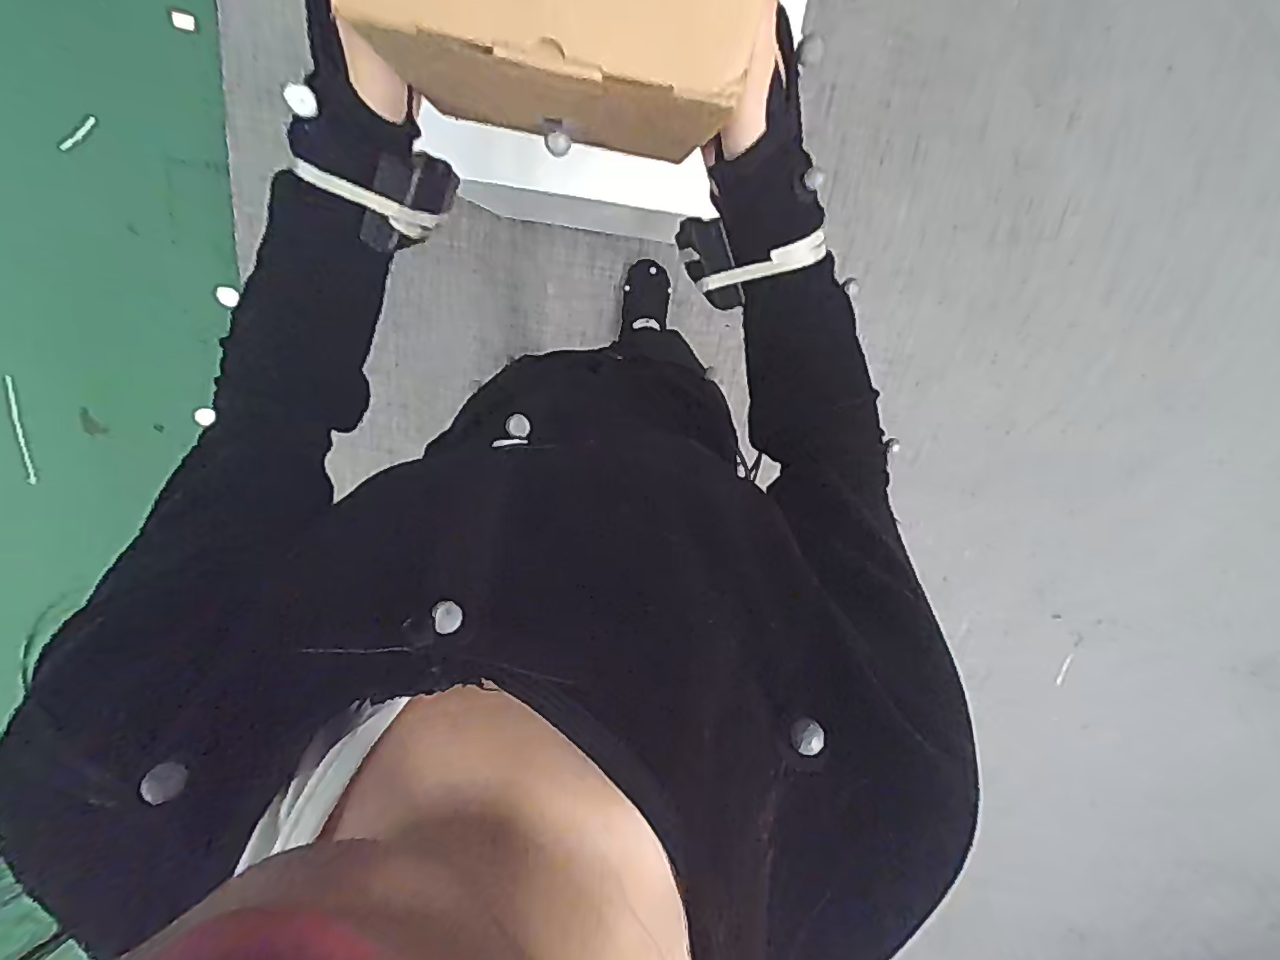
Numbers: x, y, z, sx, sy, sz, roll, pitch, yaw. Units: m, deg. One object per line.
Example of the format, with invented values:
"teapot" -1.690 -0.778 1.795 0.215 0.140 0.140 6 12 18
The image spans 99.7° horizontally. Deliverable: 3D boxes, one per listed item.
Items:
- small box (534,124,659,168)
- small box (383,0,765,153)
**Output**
"small box" -0.042 -0.494 0.629 0.168 0.176 0.179 11 107 -3
"small box" -0.028 -0.282 0.252 0.168 0.176 0.179 7 110 -8
